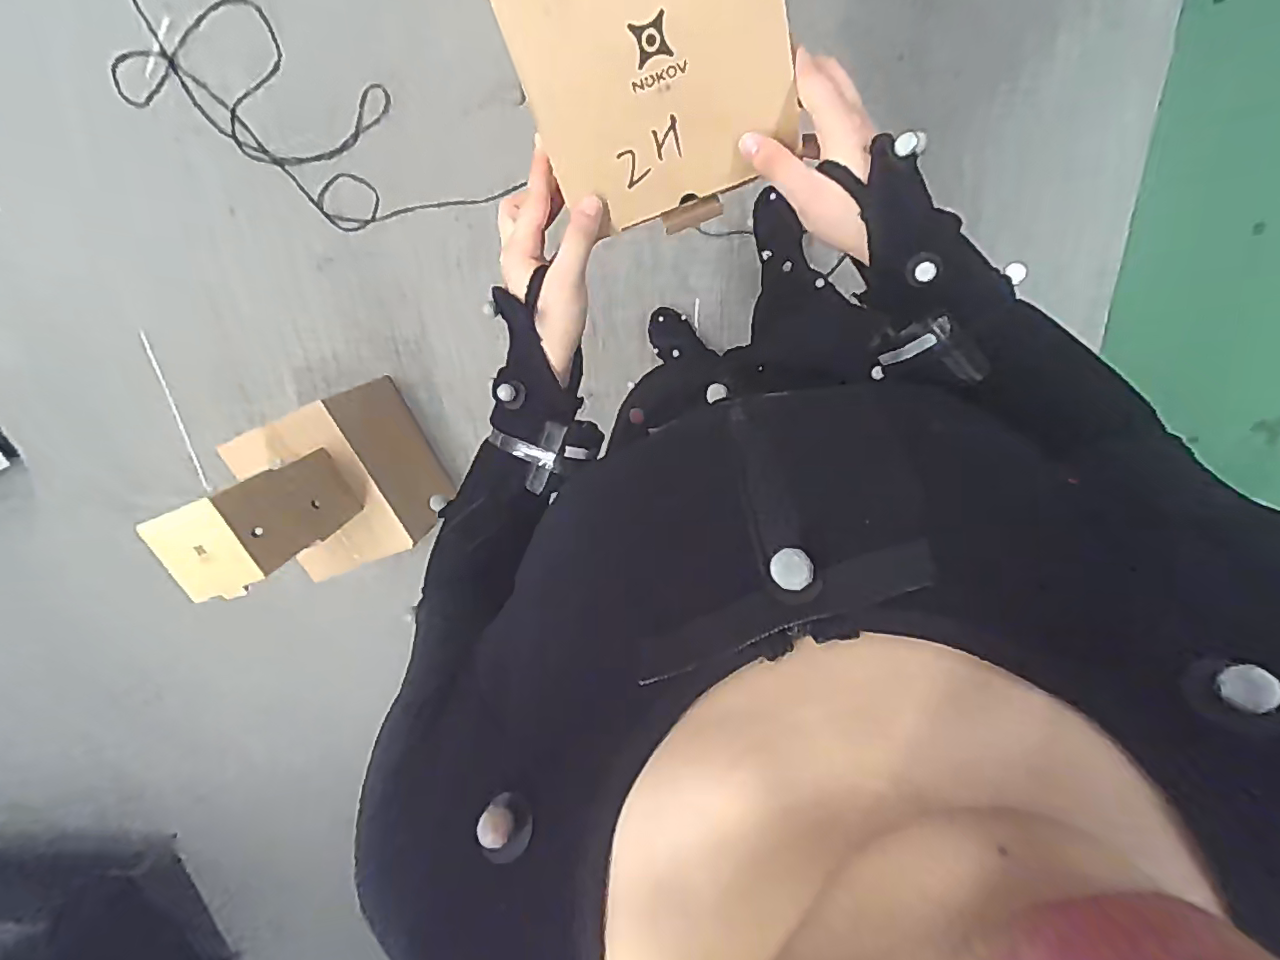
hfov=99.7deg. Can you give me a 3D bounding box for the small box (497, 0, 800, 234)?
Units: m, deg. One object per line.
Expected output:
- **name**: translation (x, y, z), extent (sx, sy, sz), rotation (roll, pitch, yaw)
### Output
- **small box**: translation (0.002, -0.312, 0.398), extent (0.168, 0.176, 0.179), rotation (-17, 126, 8)

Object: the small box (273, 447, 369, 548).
- **small box**: translation (-0.759, 0.050, 1.223), extent (0.168, 0.176, 0.179), rotation (-20, 108, 11)

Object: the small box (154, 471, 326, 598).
- **small box**: translation (-0.774, 0.096, 1.067), extent (0.168, 0.176, 0.179), rotation (-20, 109, 11)
